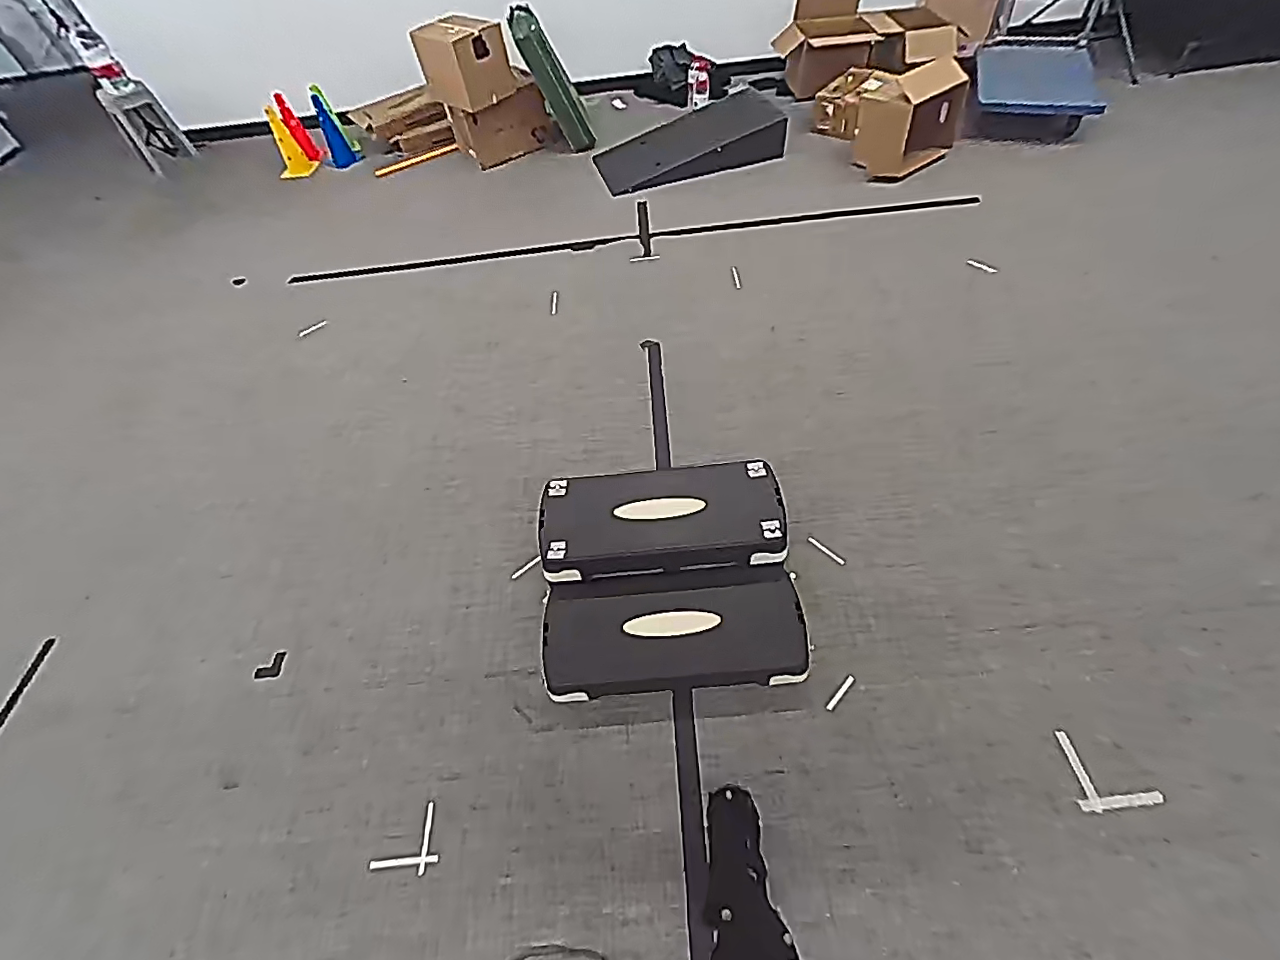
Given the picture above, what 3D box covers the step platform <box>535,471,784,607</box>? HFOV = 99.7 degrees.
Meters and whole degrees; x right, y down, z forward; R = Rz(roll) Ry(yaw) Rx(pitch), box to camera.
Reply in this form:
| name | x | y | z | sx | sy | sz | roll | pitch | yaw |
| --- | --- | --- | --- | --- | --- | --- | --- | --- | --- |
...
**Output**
| name | x | y | z | sx | sy | sz | roll | pitch | yaw |
| --- | --- | --- | --- | --- | --- | --- | --- | --- | --- |
| step platform | 0.051 | 0.161 | 1.522 | 0.684 | 0.204 | 0.286 | -6 | 54 | 1 |
